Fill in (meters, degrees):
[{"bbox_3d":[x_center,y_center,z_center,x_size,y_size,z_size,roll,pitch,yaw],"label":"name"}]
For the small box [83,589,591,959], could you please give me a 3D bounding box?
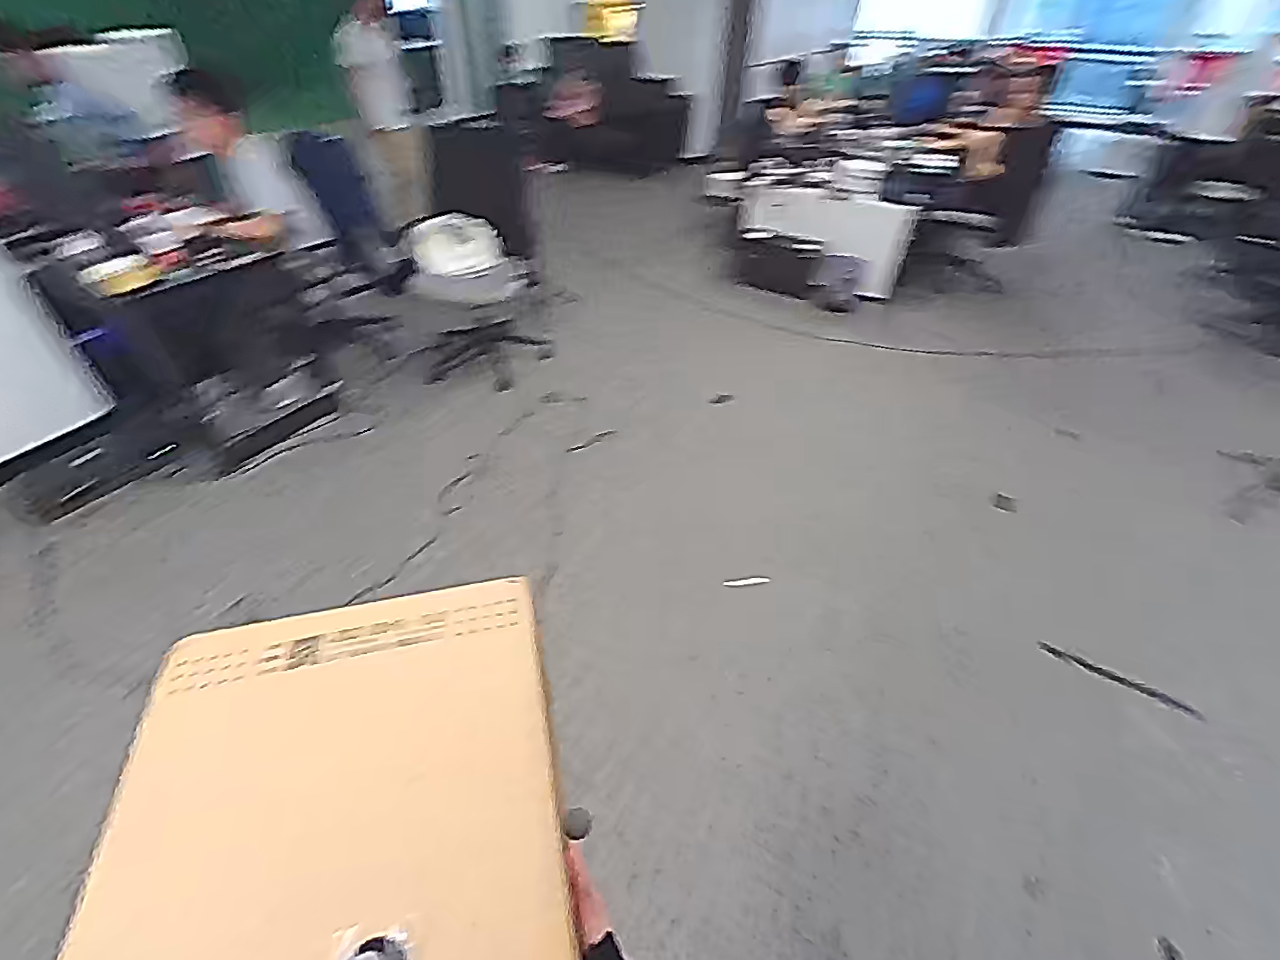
[{"bbox_3d":[-0.116,0.178,0.277,0.168,0.179,0.176,-8,50,-11],"label":"small box"}]
